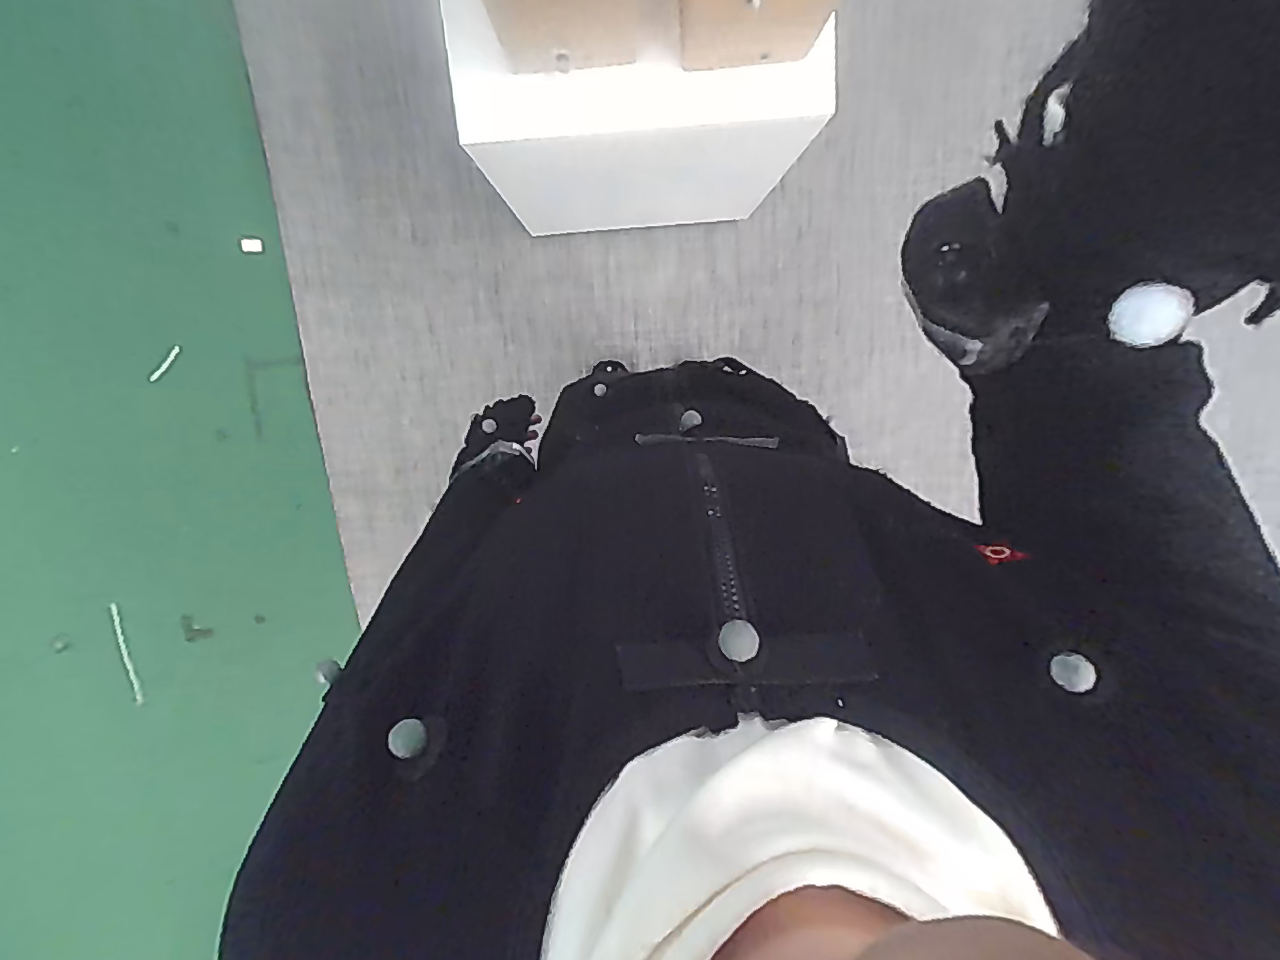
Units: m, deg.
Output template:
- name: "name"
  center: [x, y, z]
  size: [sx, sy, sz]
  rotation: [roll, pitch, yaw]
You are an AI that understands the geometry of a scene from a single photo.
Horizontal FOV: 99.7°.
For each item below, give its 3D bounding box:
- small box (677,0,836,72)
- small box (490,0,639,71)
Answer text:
- name: "small box"
  center: [0.129, -0.614, 0.619]
  size: [0.168, 0.176, 0.179]
  rotation: [-5, 101, 0]
- name: "small box"
  center: [-0.091, -0.604, 0.604]
  size: [0.168, 0.176, 0.179]
  rotation: [-6, 103, 1]
